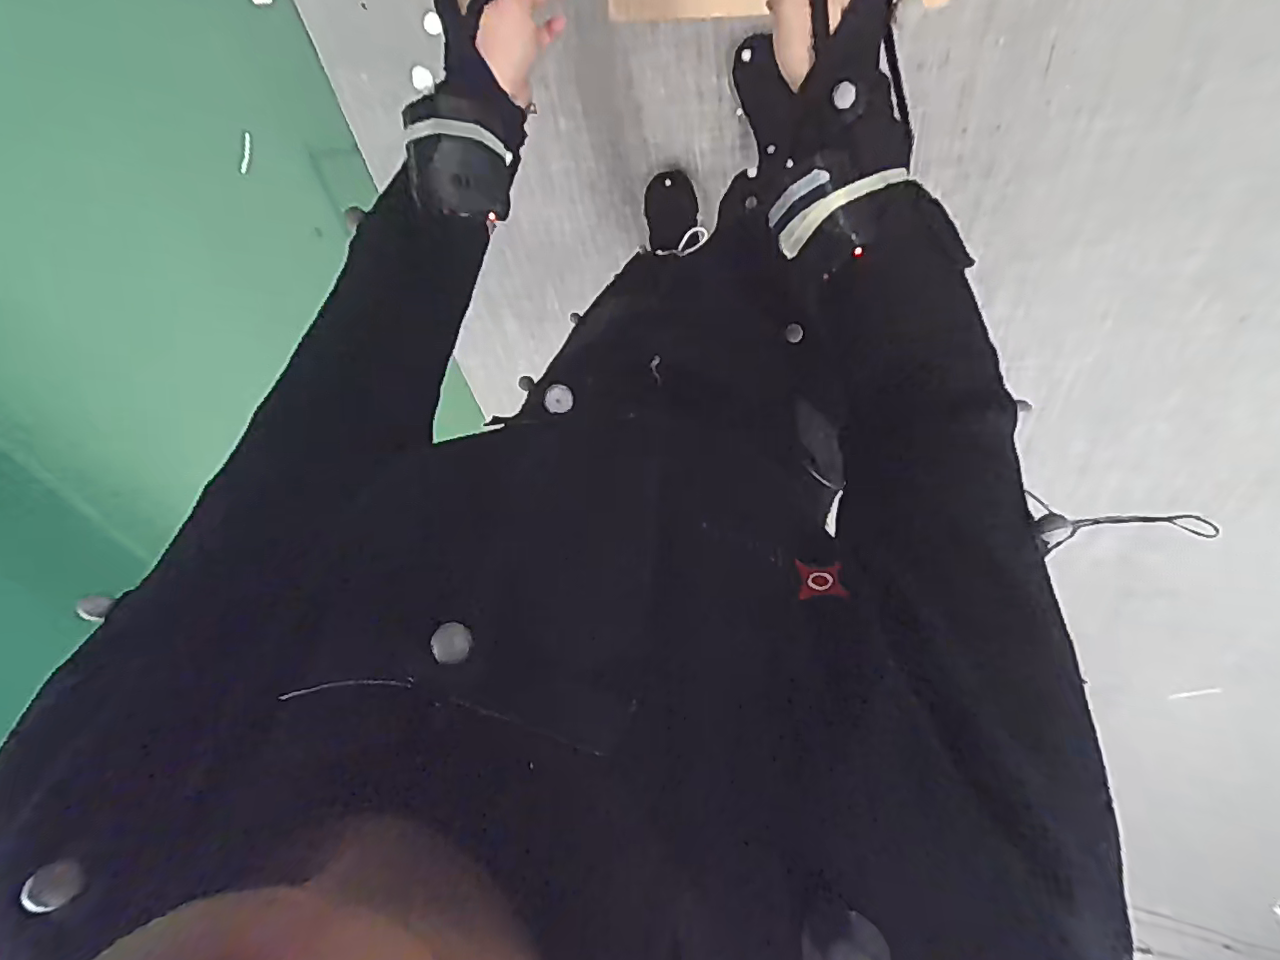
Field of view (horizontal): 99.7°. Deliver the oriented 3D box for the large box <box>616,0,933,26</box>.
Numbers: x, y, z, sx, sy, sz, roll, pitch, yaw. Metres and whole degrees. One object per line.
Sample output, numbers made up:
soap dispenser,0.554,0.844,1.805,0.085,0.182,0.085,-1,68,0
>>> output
large box,0.187,-0.773,0.645,0.408,0.320,0.320,8,137,14
